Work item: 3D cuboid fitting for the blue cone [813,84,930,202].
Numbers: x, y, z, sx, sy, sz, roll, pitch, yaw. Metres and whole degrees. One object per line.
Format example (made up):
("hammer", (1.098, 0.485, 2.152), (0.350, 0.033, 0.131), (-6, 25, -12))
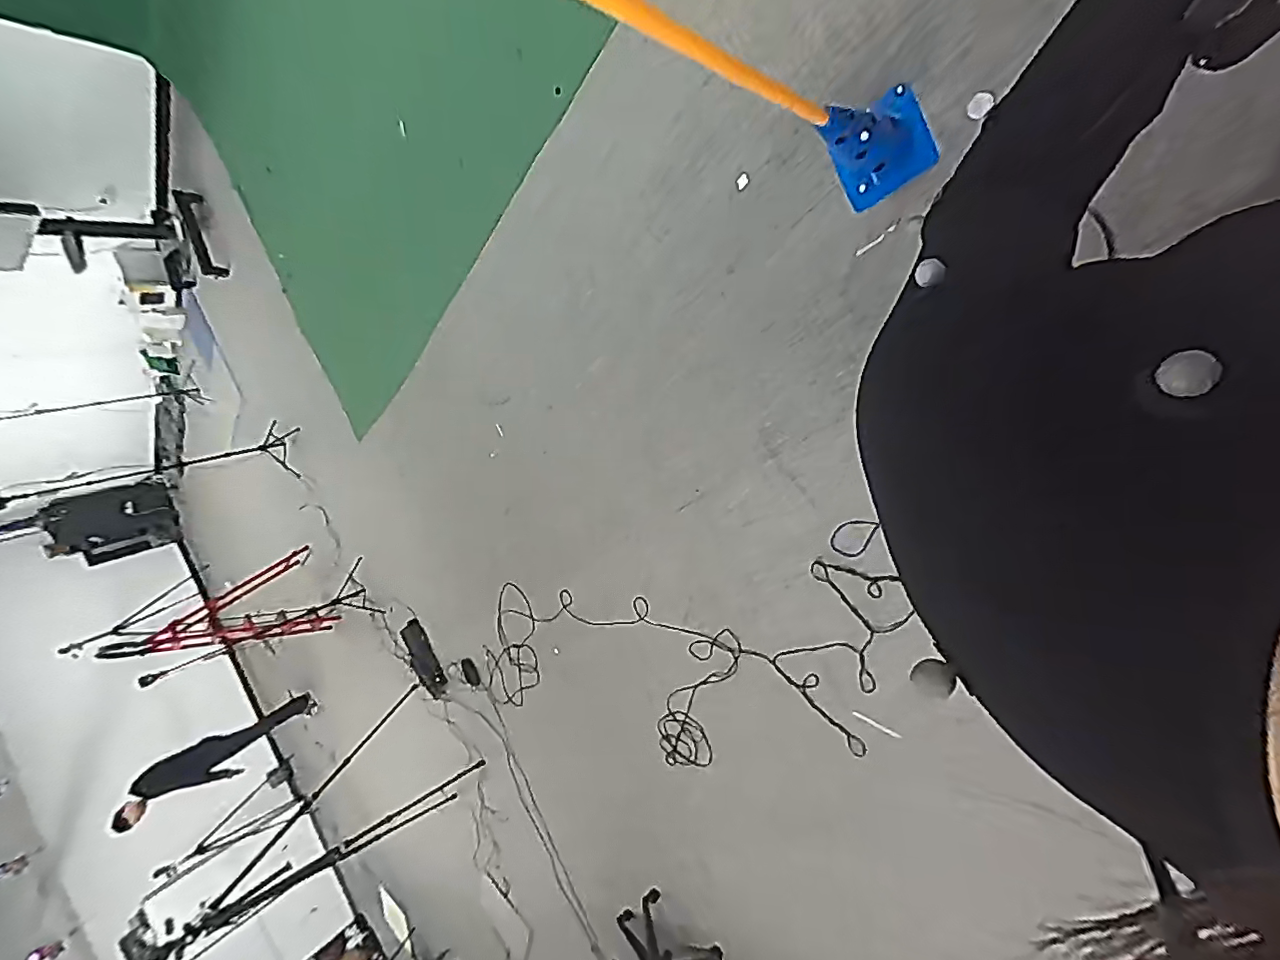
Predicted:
("blue cone", (0.457, -0.737, 1.143), (0.193, 0.380, 0.192), (-21, 90, 43))
